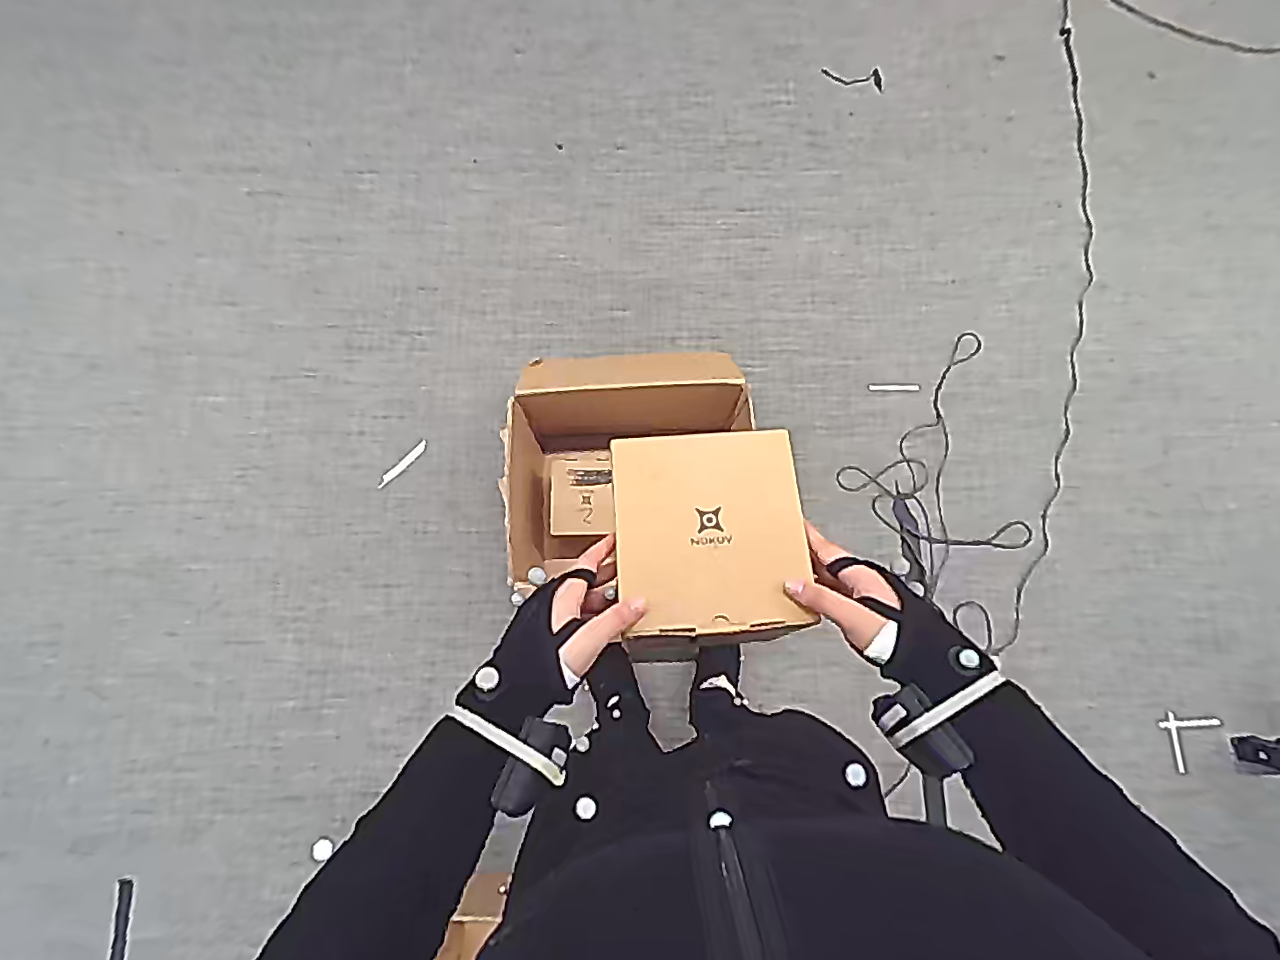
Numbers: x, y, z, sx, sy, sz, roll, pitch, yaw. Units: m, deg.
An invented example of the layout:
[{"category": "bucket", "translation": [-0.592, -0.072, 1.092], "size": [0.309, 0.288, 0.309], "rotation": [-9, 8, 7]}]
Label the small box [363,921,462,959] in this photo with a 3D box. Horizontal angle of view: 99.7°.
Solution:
[{"category": "small box", "translation": [-0.465, 1.017, 1.071], "size": [0.179, 0.176, 0.168], "rotation": [3, 79, -2]}]
